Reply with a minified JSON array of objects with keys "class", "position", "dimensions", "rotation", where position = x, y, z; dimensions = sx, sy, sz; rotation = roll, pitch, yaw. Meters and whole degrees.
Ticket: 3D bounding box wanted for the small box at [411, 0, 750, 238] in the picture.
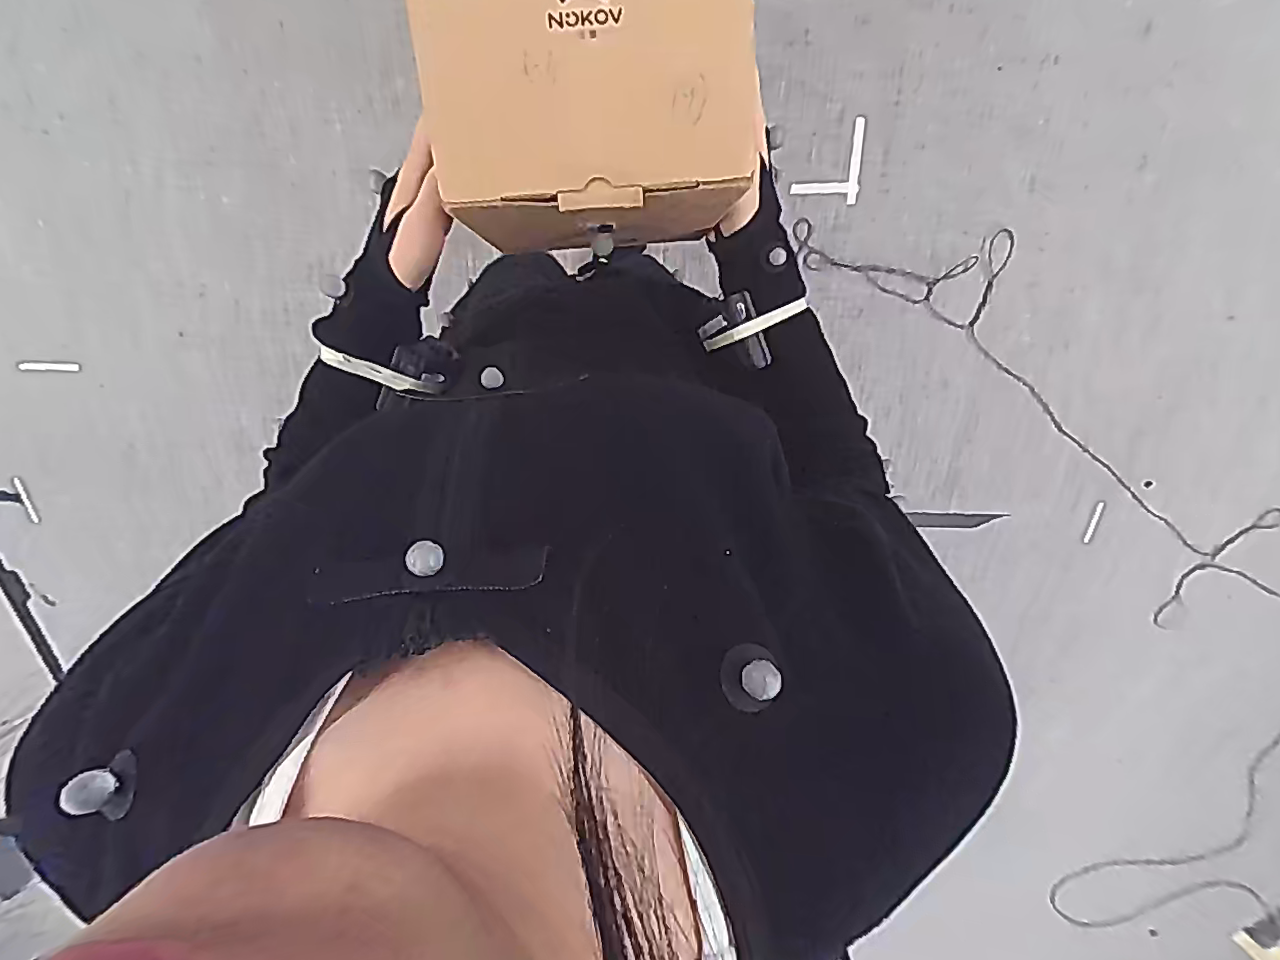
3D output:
[{"class":"small box","position":[-0.033,-0.256,0.336],"dimensions":[0.168,0.176,0.179],"rotation":[-6,106,-3]}]
